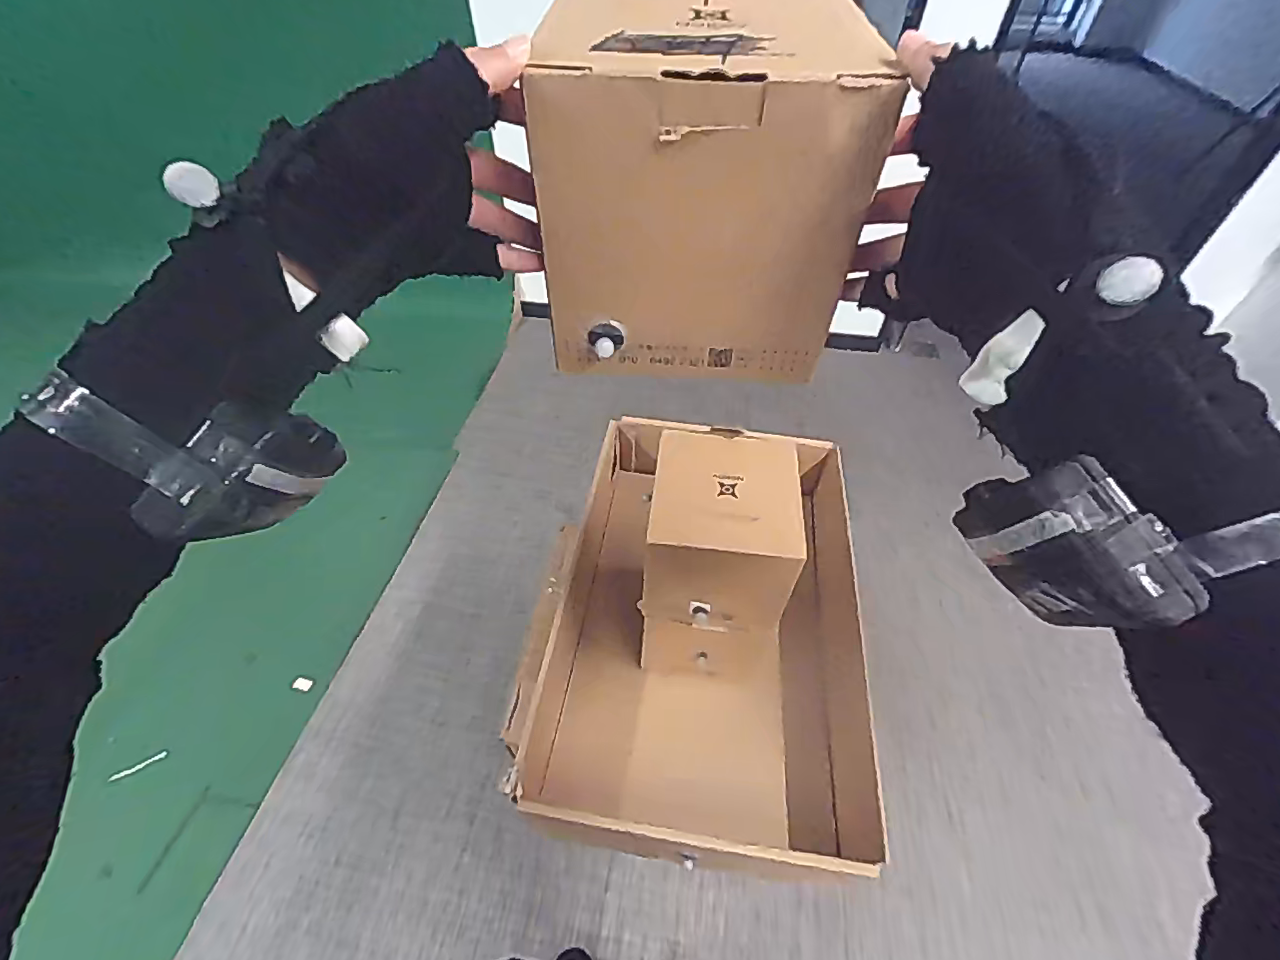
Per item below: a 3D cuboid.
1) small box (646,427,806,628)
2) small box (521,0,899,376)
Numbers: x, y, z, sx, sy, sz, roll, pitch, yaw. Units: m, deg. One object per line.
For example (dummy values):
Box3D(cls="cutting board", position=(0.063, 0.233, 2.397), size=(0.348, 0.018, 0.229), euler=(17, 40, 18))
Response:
Box3D(cls="small box", position=(0.097, 0.059, 0.671), size=(0.168, 0.176, 0.179), euler=(5, 49, 4))
Box3D(cls="small box", position=(0.033, -0.184, 0.343), size=(0.168, 0.176, 0.179), euler=(3, 51, 1))
